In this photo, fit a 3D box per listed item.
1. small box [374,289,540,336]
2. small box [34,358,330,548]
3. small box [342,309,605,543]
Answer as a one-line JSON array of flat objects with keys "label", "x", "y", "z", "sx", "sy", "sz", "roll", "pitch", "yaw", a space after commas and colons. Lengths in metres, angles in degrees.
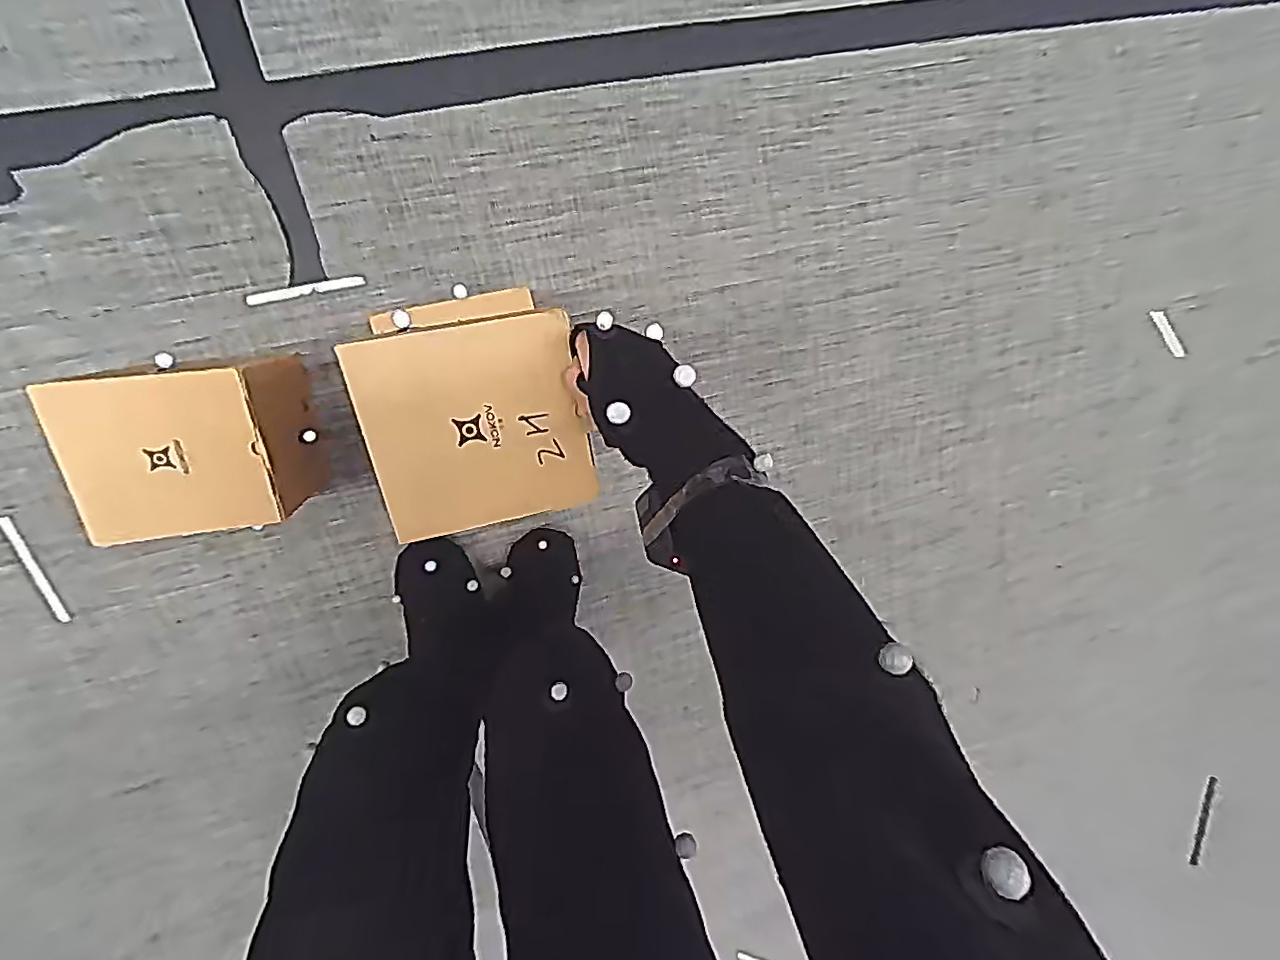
[{"label": "small box", "x": -0.192, "y": -0.126, "z": 0.652, "sx": 0.168, "sy": 0.176, "sz": 0.179, "roll": -15, "pitch": 110, "yaw": -11}, {"label": "small box", "x": -0.480, "y": -0.042, "z": 0.604, "sx": 0.179, "sy": 0.176, "sz": 0.168, "roll": -8, "pitch": 109, "yaw": -13}, {"label": "small box", "x": -0.143, "y": -0.063, "z": 0.507, "sx": 0.179, "sy": 0.176, "sz": 0.168, "roll": -13, "pitch": 111, "yaw": -12}]
